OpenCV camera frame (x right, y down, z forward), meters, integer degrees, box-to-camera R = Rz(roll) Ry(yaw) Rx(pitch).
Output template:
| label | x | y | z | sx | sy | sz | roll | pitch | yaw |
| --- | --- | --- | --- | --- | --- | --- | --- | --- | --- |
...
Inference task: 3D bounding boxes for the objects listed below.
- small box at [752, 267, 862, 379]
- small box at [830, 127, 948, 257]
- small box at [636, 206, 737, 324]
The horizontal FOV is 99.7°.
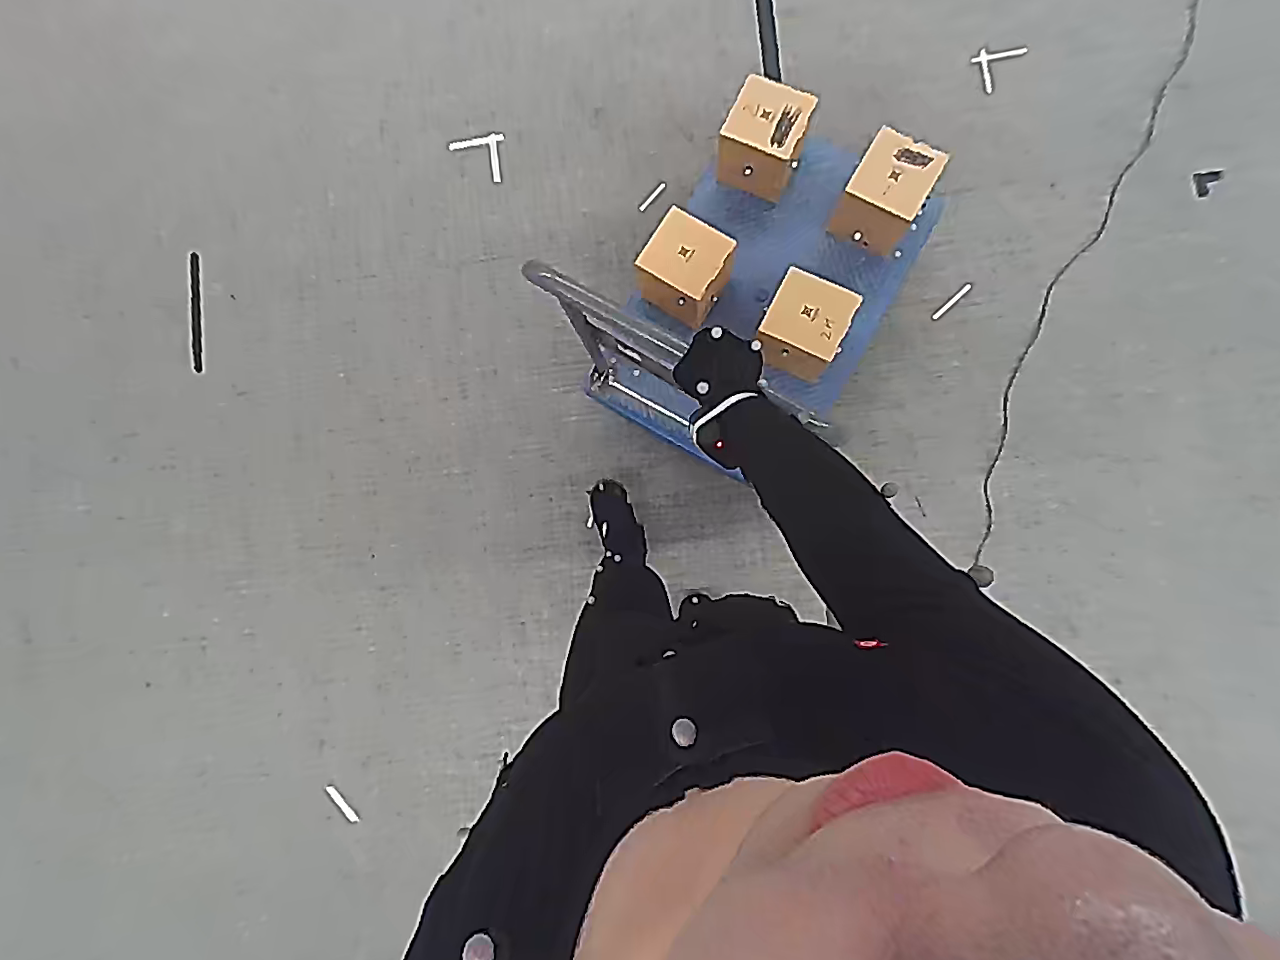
| label | x | y | z | sx | sy | sz | roll | pitch | yaw |
| --- | --- | --- | --- | --- | --- | --- | --- | --- | --- |
| small box | 0.378 | -0.356 | 1.262 | 0.179 | 0.176 | 0.168 | 27 | 87 | 7 |
| small box | 0.576 | -0.672 | 1.278 | 0.168 | 0.176 | 0.179 | 31 | 88 | 7 |
| small box | 0.109 | -0.506 | 1.301 | 0.179 | 0.176 | 0.168 | 33 | 87 | 6 |
